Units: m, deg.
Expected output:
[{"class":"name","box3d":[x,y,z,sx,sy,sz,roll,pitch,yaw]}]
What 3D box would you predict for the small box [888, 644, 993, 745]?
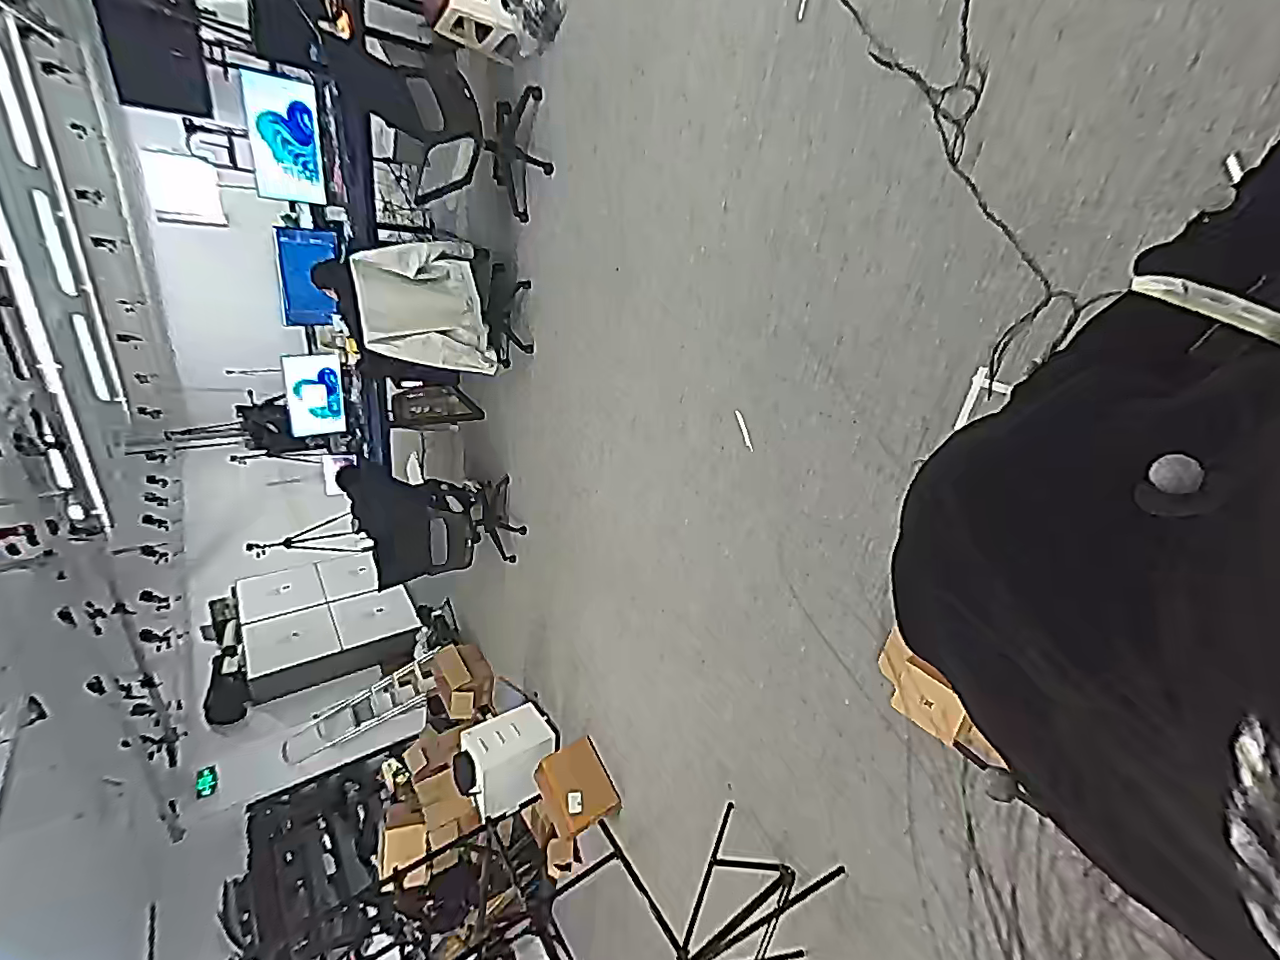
[{"class":"small box","box3d":[0.827,0.578,1.490,0.179,0.176,0.168,30,124,45]}]
